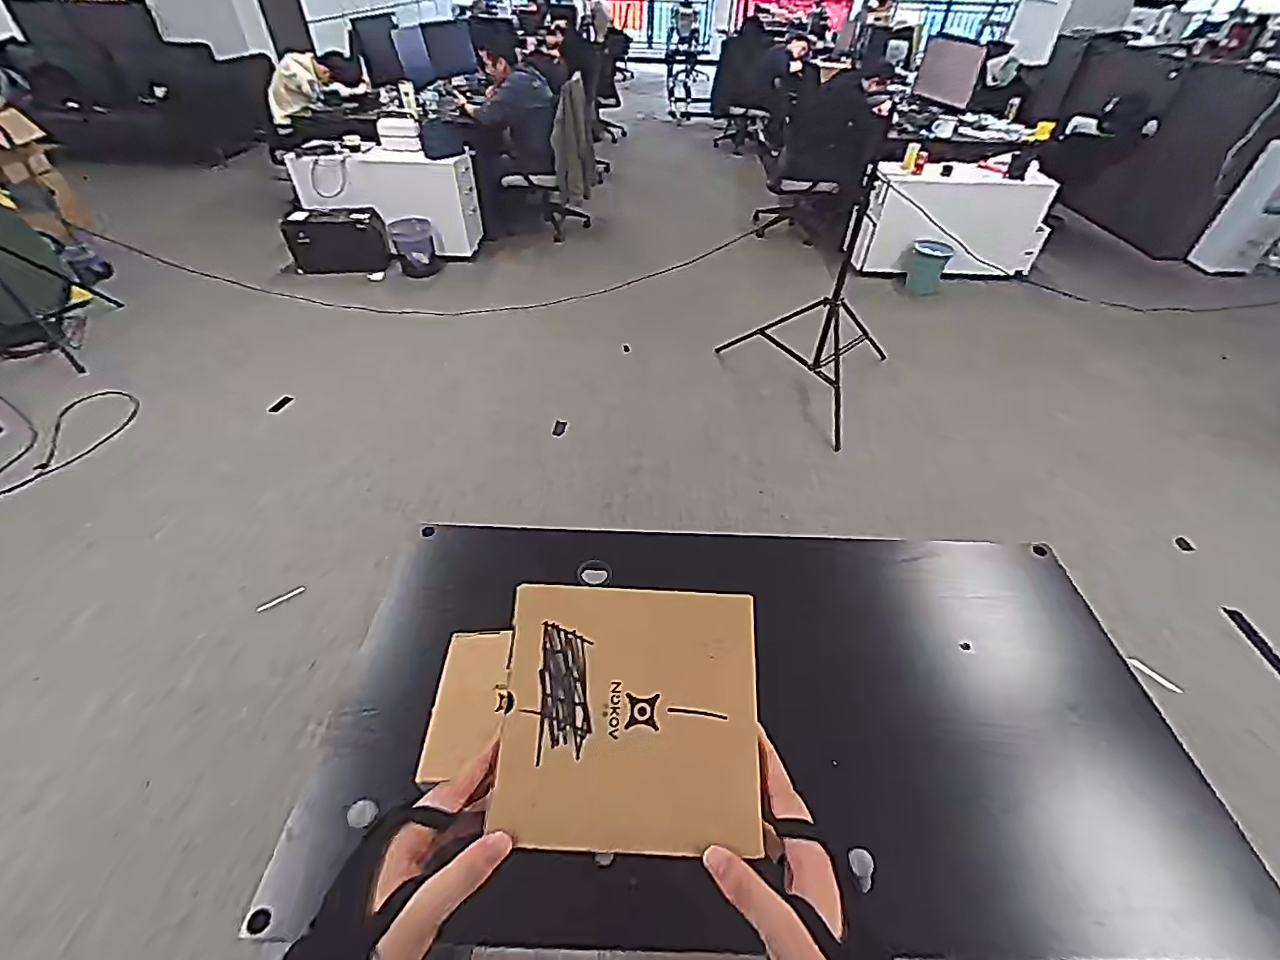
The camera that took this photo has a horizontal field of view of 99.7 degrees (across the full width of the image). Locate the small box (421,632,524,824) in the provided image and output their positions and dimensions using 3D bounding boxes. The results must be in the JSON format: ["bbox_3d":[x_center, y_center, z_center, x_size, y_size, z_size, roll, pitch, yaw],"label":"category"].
[{"bbox_3d":[-0.153,0.312,0.684,0.168,0.176,0.179,-1,45,-2],"label":"small box"}]

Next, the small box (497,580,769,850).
[{"bbox_3d":[-0.001,0.188,0.446,0.179,0.176,0.168,3,65,0],"label":"small box"}]
